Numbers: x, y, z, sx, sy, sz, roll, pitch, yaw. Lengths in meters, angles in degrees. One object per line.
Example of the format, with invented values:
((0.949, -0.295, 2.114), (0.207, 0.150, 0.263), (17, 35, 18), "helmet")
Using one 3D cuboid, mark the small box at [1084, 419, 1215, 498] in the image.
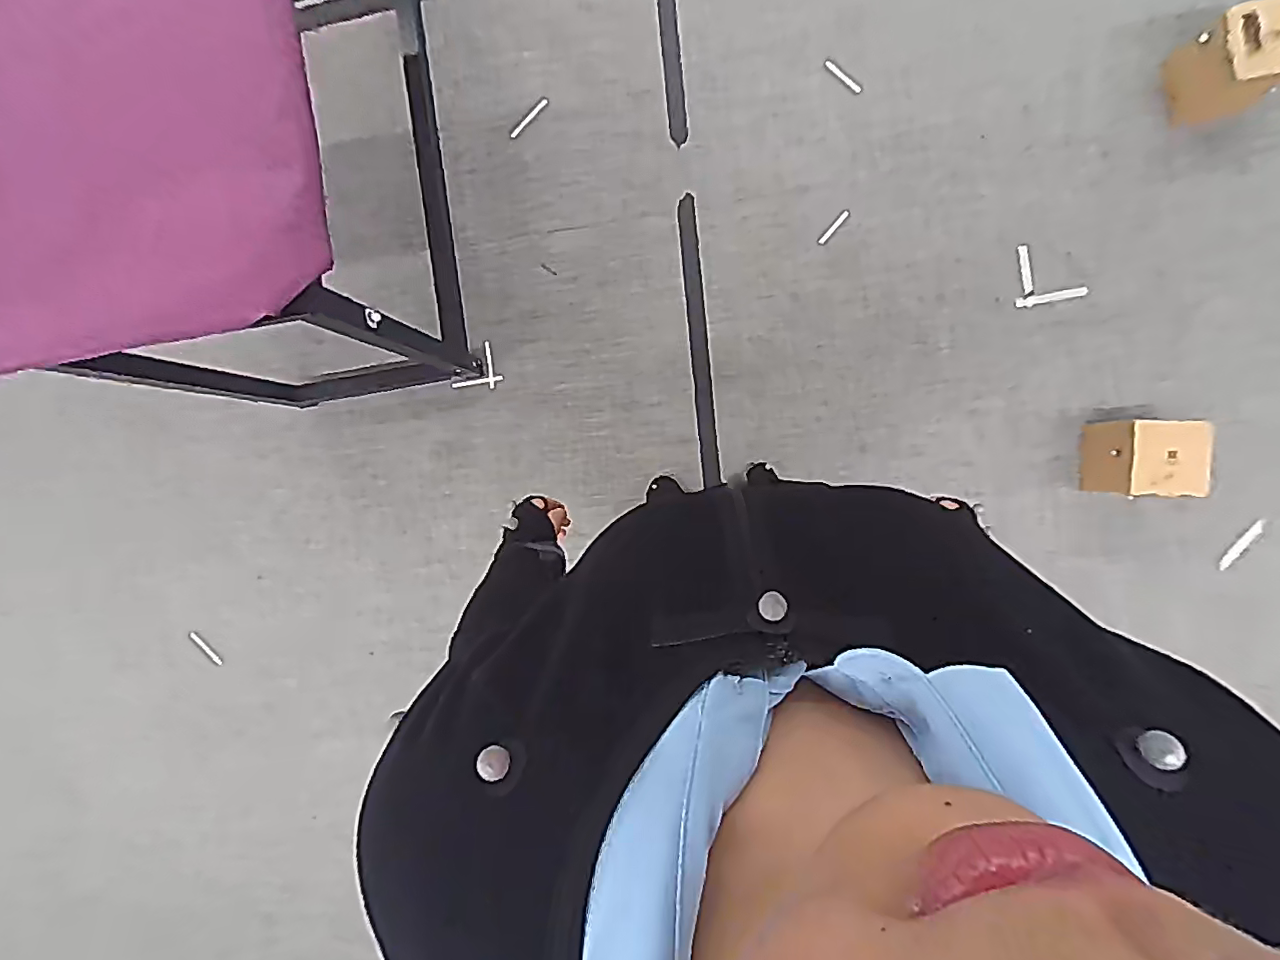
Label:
((1.225, -0.052, 1.314), (0.168, 0.176, 0.179), (3, 92, 7), "small box")
